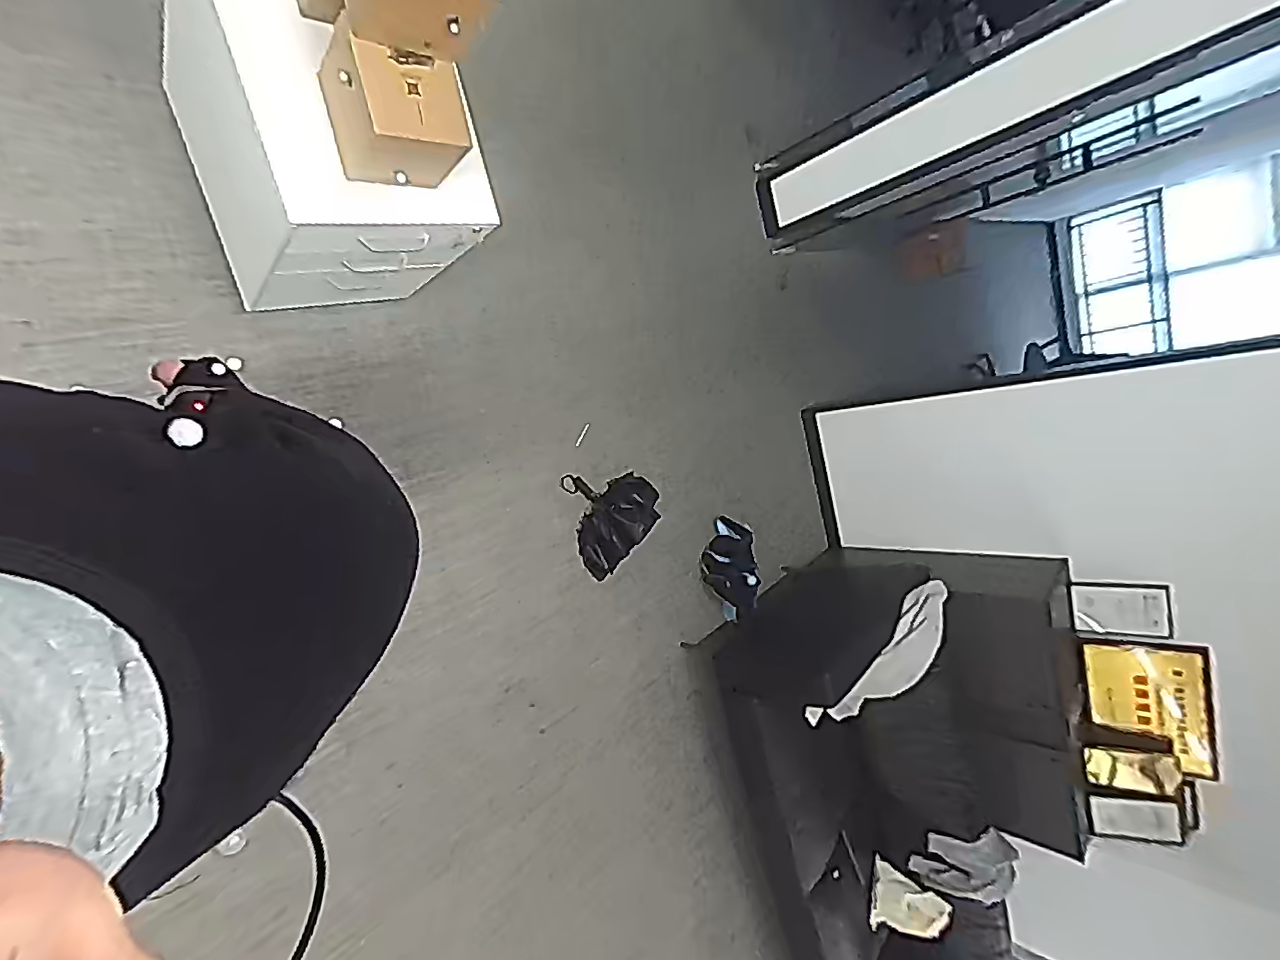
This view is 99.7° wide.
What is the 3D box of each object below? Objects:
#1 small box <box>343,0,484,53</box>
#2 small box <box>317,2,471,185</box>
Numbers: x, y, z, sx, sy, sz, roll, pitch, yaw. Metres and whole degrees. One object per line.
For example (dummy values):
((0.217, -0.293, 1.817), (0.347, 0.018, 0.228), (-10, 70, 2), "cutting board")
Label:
((-0.328, -0.758, 0.765), (0.168, 0.176, 0.179), (-21, 102, -42), "small box")
((-0.413, -0.625, 0.902), (0.168, 0.176, 0.179), (-20, 103, -41), "small box")
